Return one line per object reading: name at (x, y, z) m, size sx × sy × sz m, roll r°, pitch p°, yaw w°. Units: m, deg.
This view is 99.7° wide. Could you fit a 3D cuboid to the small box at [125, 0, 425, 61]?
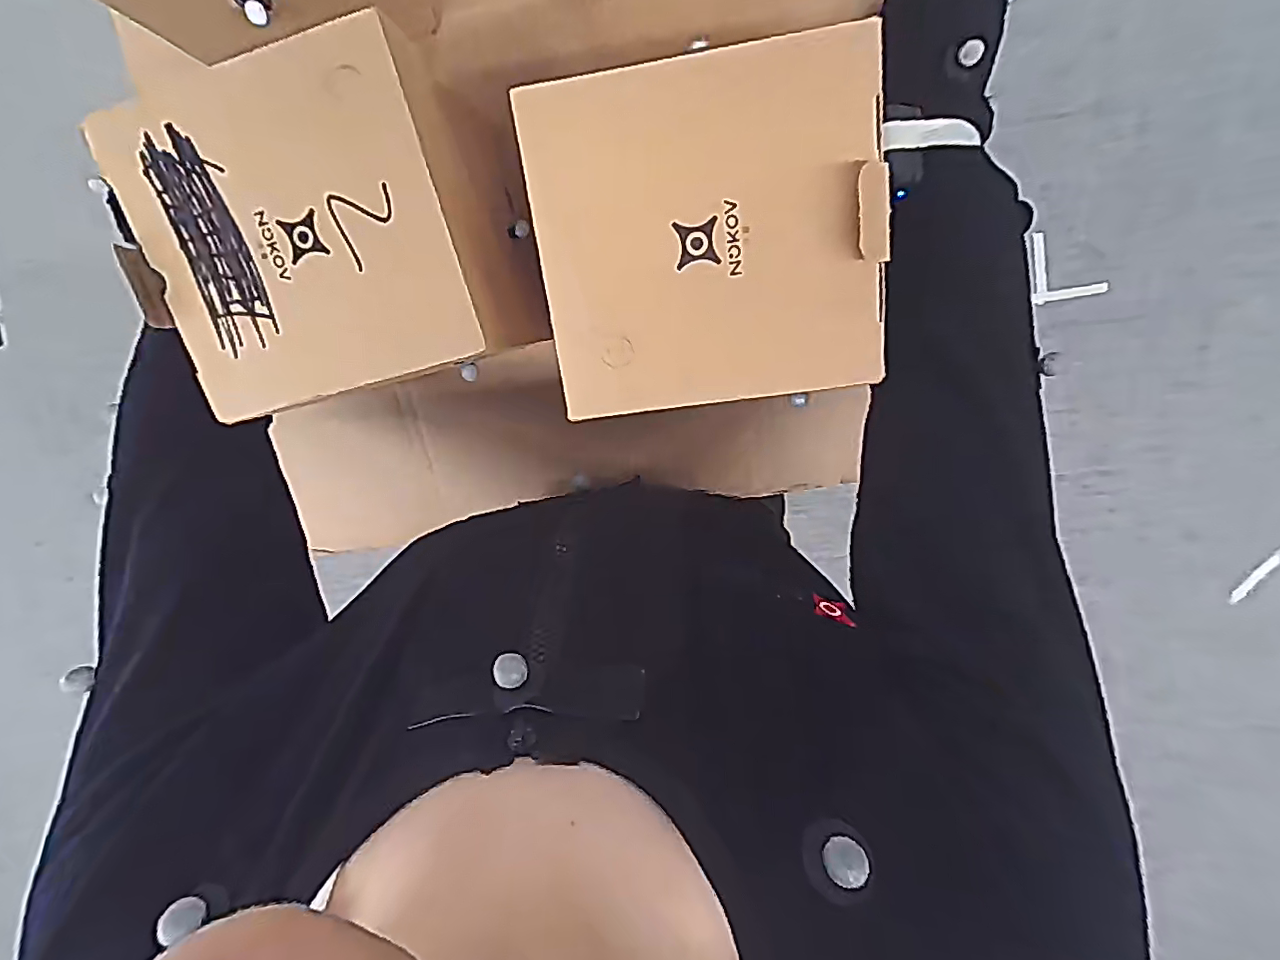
small box at (-0.253, -0.387, 0.315) m, size 0.168 × 0.176 × 0.179 m, roll -9°, pitch 102°, yaw 7°
